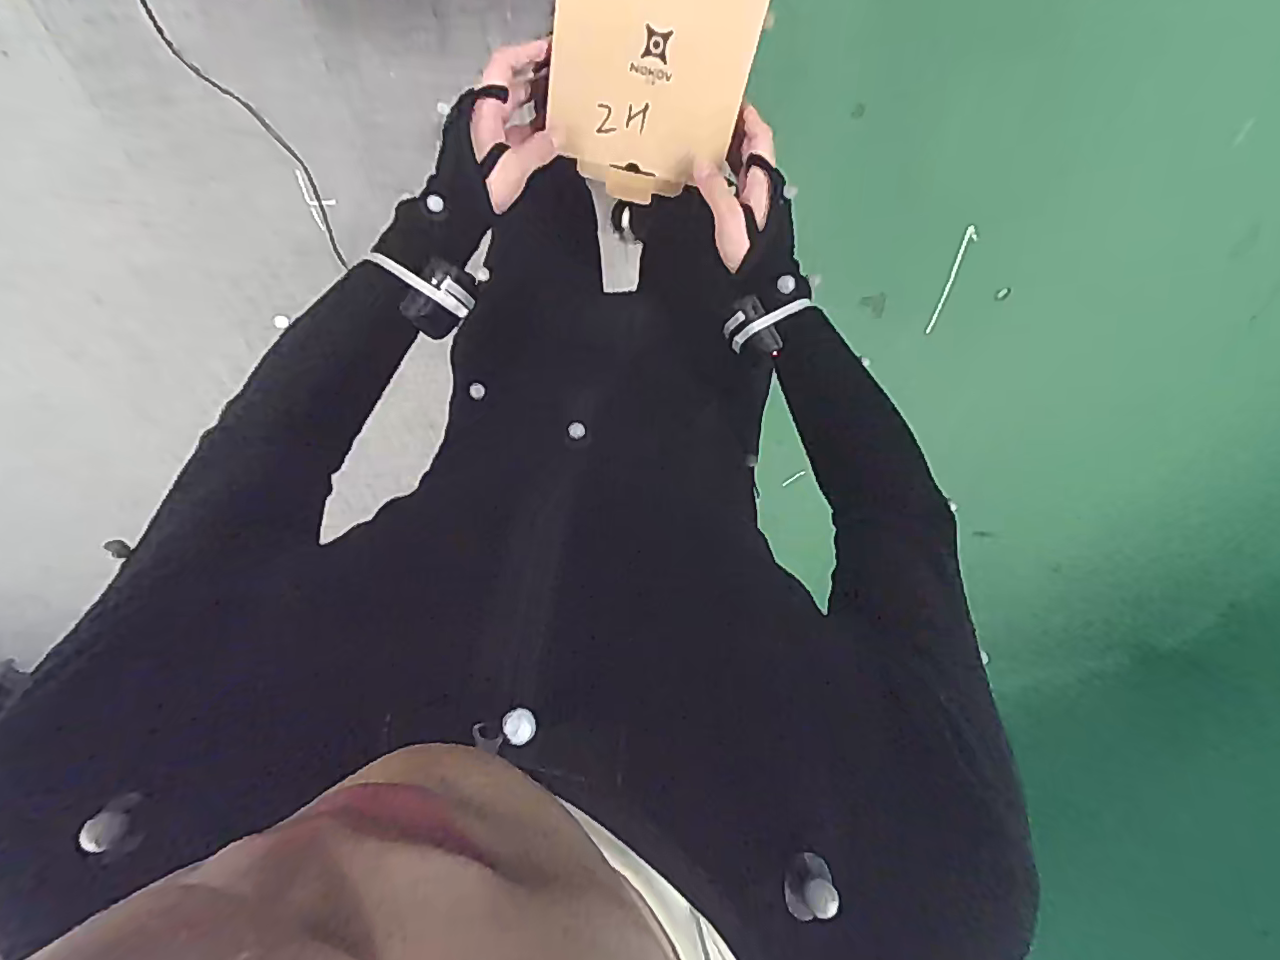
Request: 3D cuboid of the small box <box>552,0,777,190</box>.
[{"bbox_3d":[0.013,-0.408,0.509,0.168,0.176,0.179,8,133,-10],"label":"small box"}]
